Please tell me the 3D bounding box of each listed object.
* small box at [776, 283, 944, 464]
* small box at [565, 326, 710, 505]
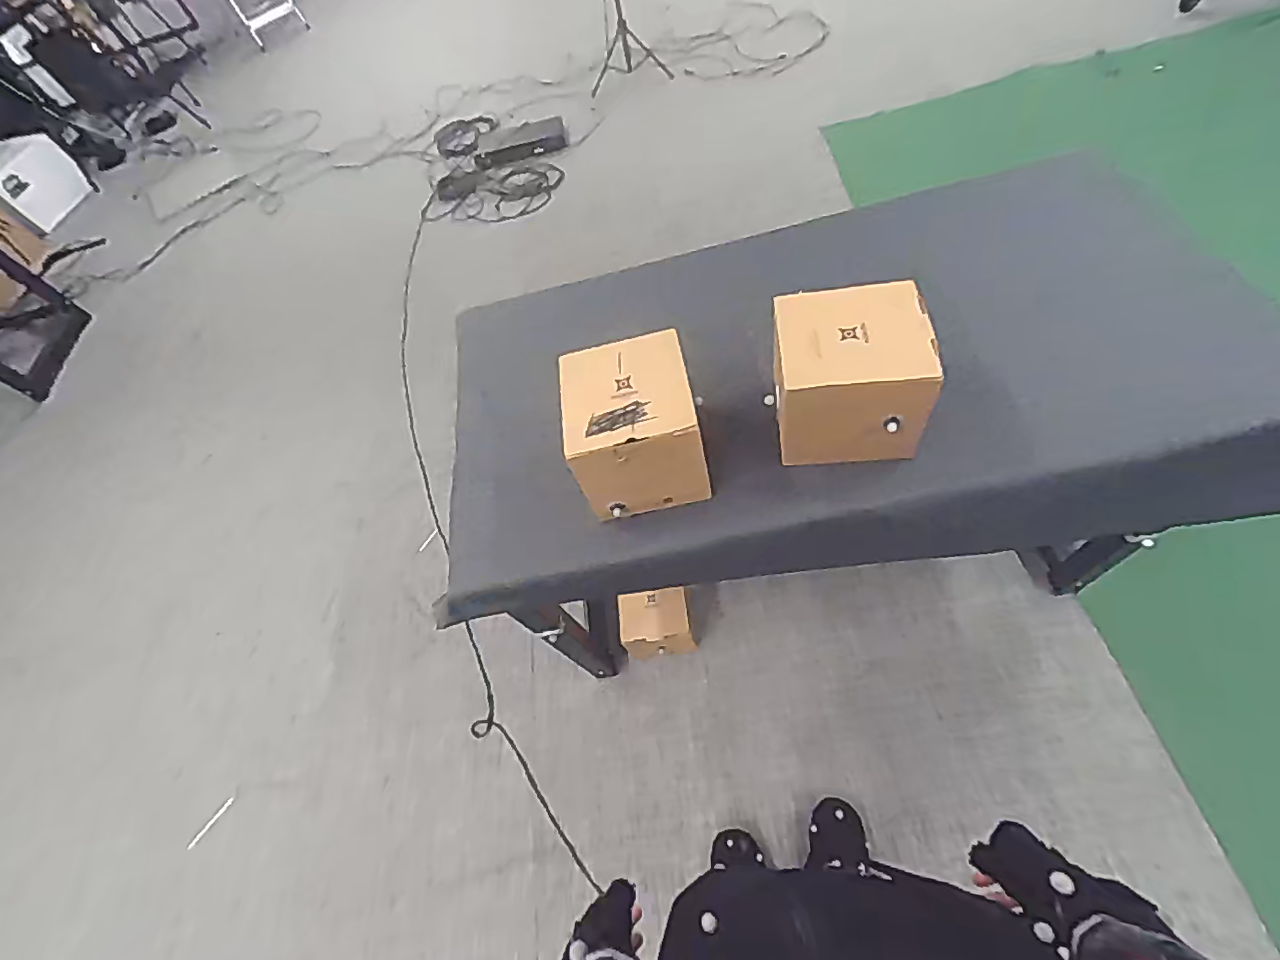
[{"bbox_3d":[0.279,-0.135,0.730,0.179,0.176,0.168,-3,58,12],"label":"small box"},{"bbox_3d":[-0.001,-0.078,0.754,0.168,0.176,0.179,-11,57,6],"label":"small box"}]
